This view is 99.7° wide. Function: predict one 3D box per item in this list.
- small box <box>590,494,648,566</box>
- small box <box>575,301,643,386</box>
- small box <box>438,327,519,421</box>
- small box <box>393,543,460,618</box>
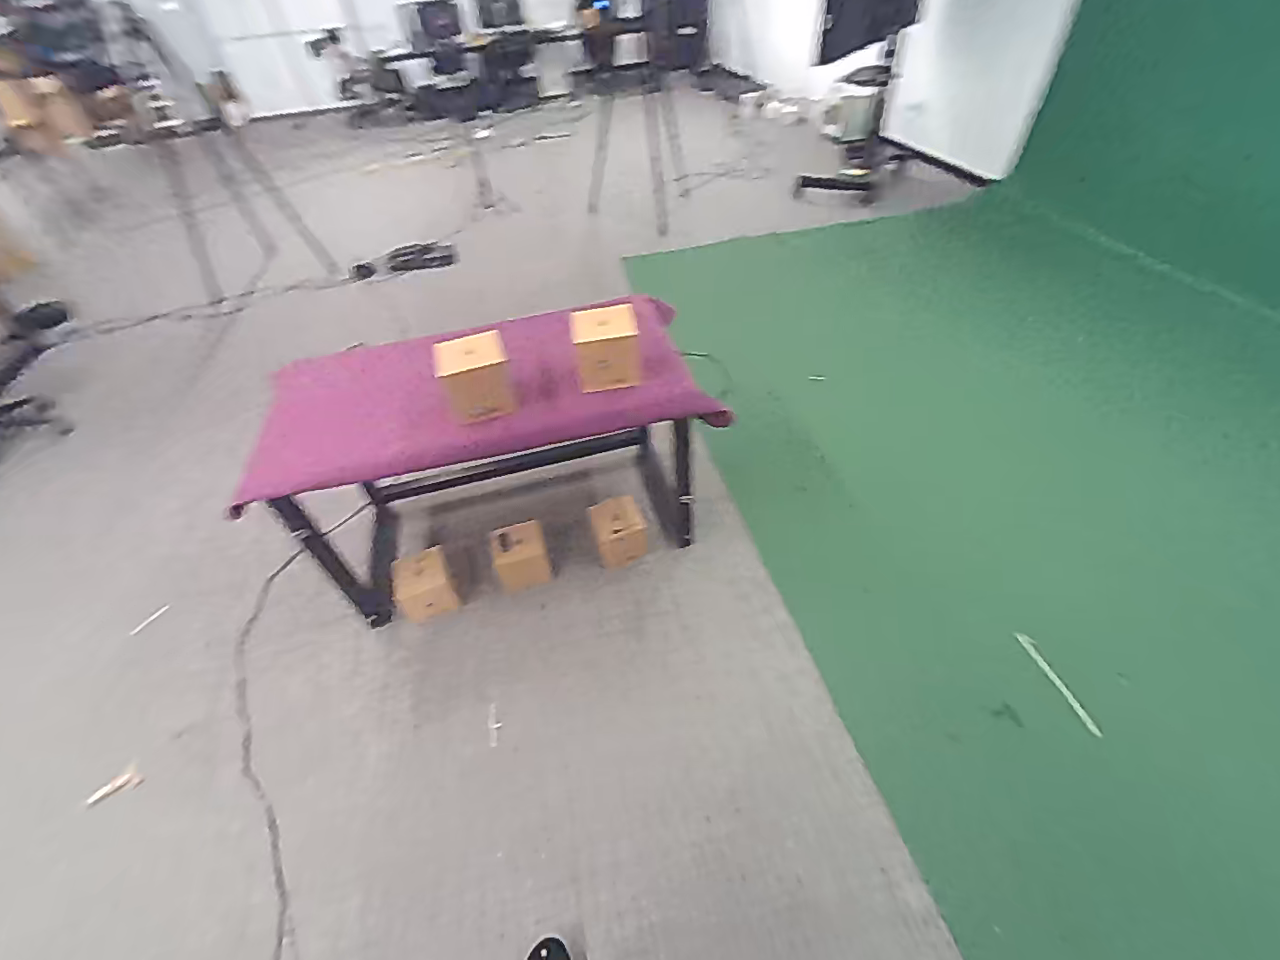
[{"bbox_3d":[-0.077,0.185,1.990,0.168,0.176,0.179,-17,46,-12],"label":"small box"},{"bbox_3d":[-0.086,-0.378,1.526,0.168,0.176,0.179,-9,44,-2],"label":"small box"},{"bbox_3d":[-0.436,-0.287,1.468,0.168,0.176,0.179,-16,46,-10],"label":"small box"},{"bbox_3d":[-0.738,0.357,1.881,0.168,0.176,0.179,-19,47,-13],"label":"small box"}]
